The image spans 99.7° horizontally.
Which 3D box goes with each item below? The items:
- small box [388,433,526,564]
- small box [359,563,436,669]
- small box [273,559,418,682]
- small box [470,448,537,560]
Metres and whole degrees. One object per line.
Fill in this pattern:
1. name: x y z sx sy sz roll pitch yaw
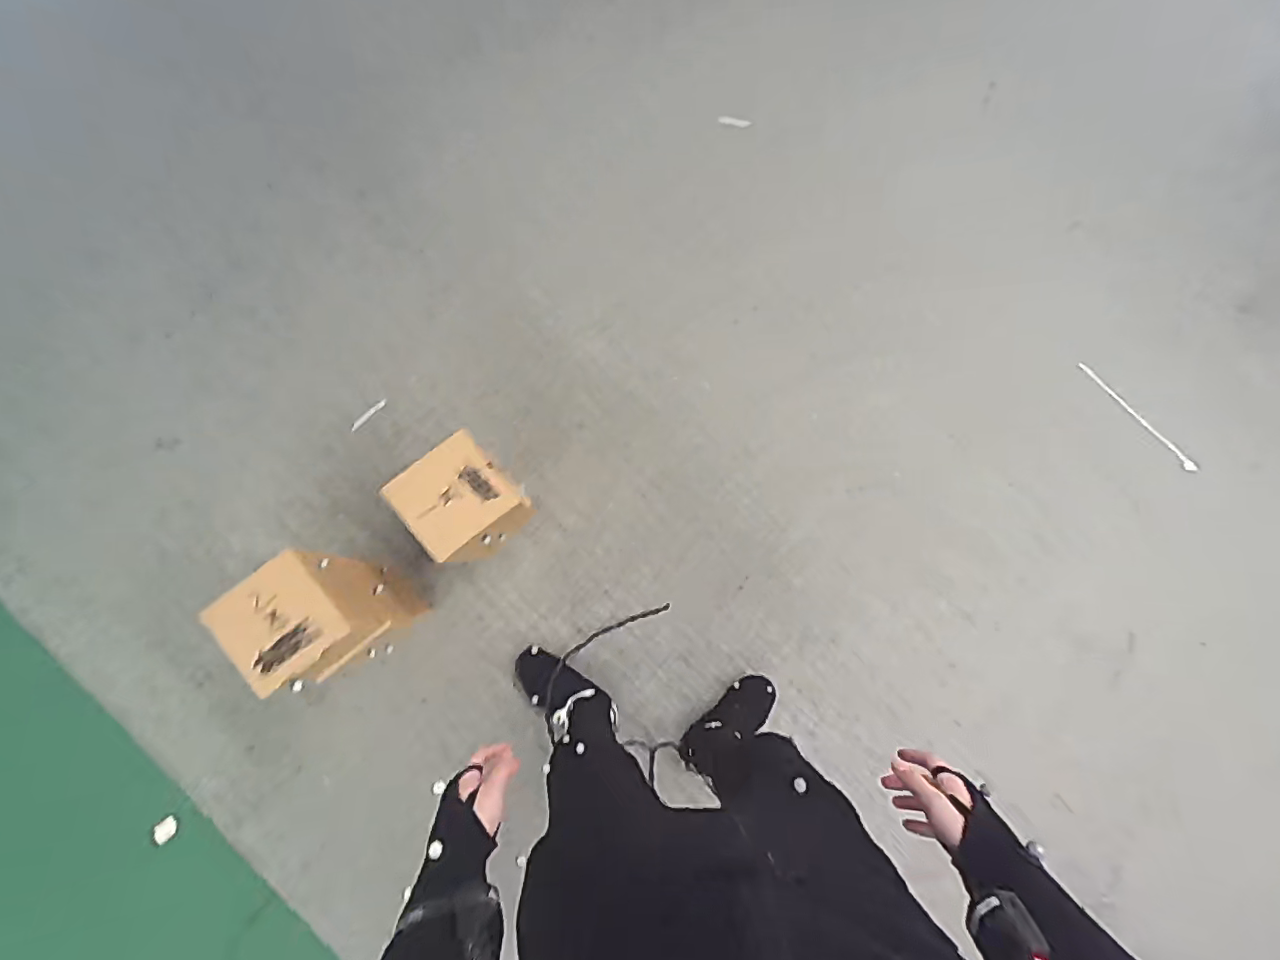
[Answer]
1. small box: -0.331 0.041 1.022 0.179 0.176 0.168 -39 86 -10
2. small box: -0.615 0.313 1.279 0.168 0.176 0.179 -41 86 -11
3. small box: -0.594 0.281 1.118 0.168 0.176 0.179 -40 85 -11
4. small box: -0.343 0.062 1.184 0.179 0.176 0.168 -41 87 -11
